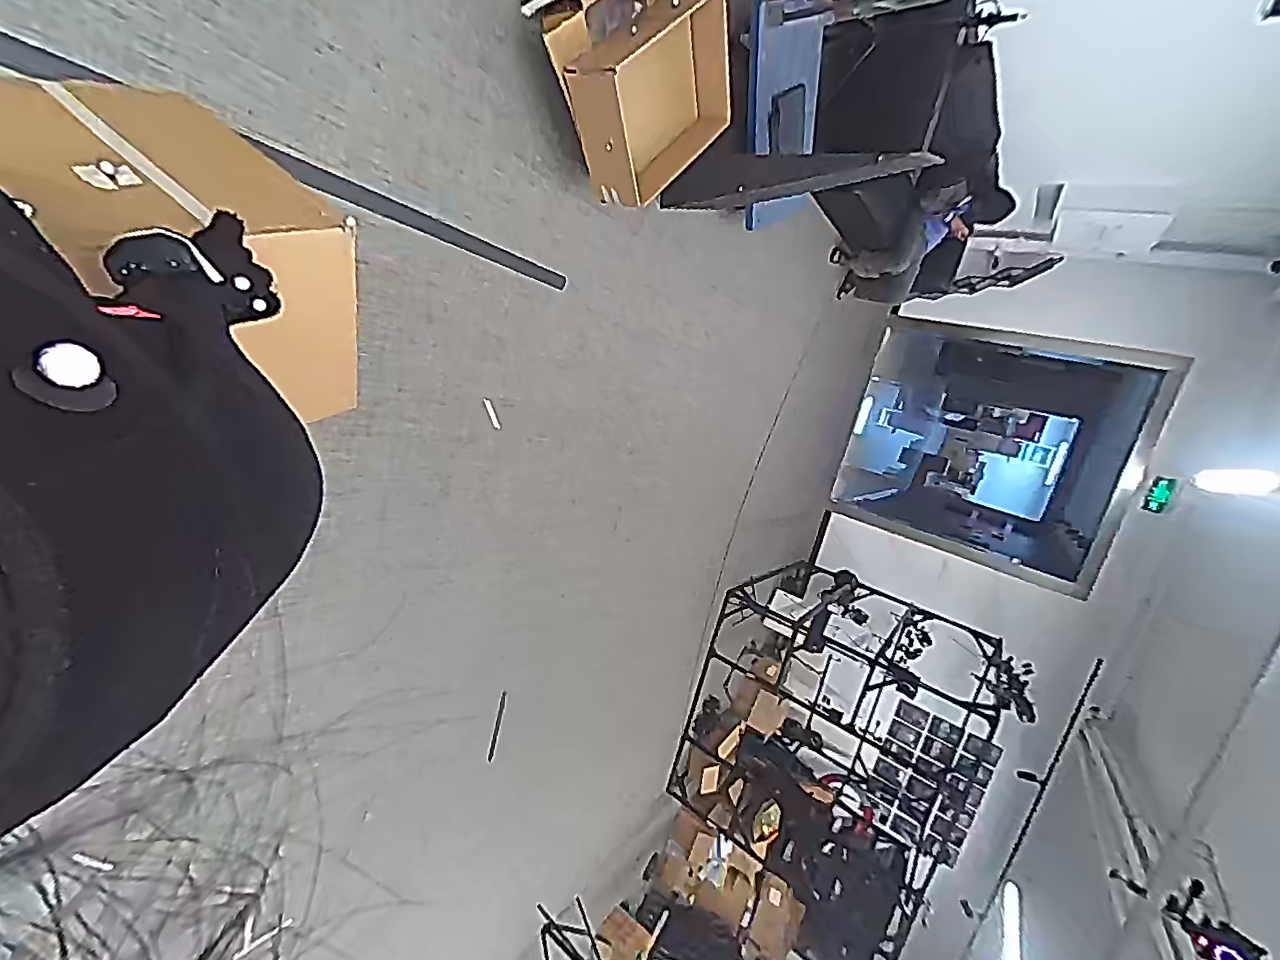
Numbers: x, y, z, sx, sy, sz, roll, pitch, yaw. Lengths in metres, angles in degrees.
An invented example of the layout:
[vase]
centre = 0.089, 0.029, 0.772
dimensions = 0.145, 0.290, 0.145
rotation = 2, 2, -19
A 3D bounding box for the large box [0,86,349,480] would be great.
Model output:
[large box]
centre = -0.675, -0.275, 0.747
dimensions = 0.320, 0.408, 0.320
rotation = -38, 161, -47
